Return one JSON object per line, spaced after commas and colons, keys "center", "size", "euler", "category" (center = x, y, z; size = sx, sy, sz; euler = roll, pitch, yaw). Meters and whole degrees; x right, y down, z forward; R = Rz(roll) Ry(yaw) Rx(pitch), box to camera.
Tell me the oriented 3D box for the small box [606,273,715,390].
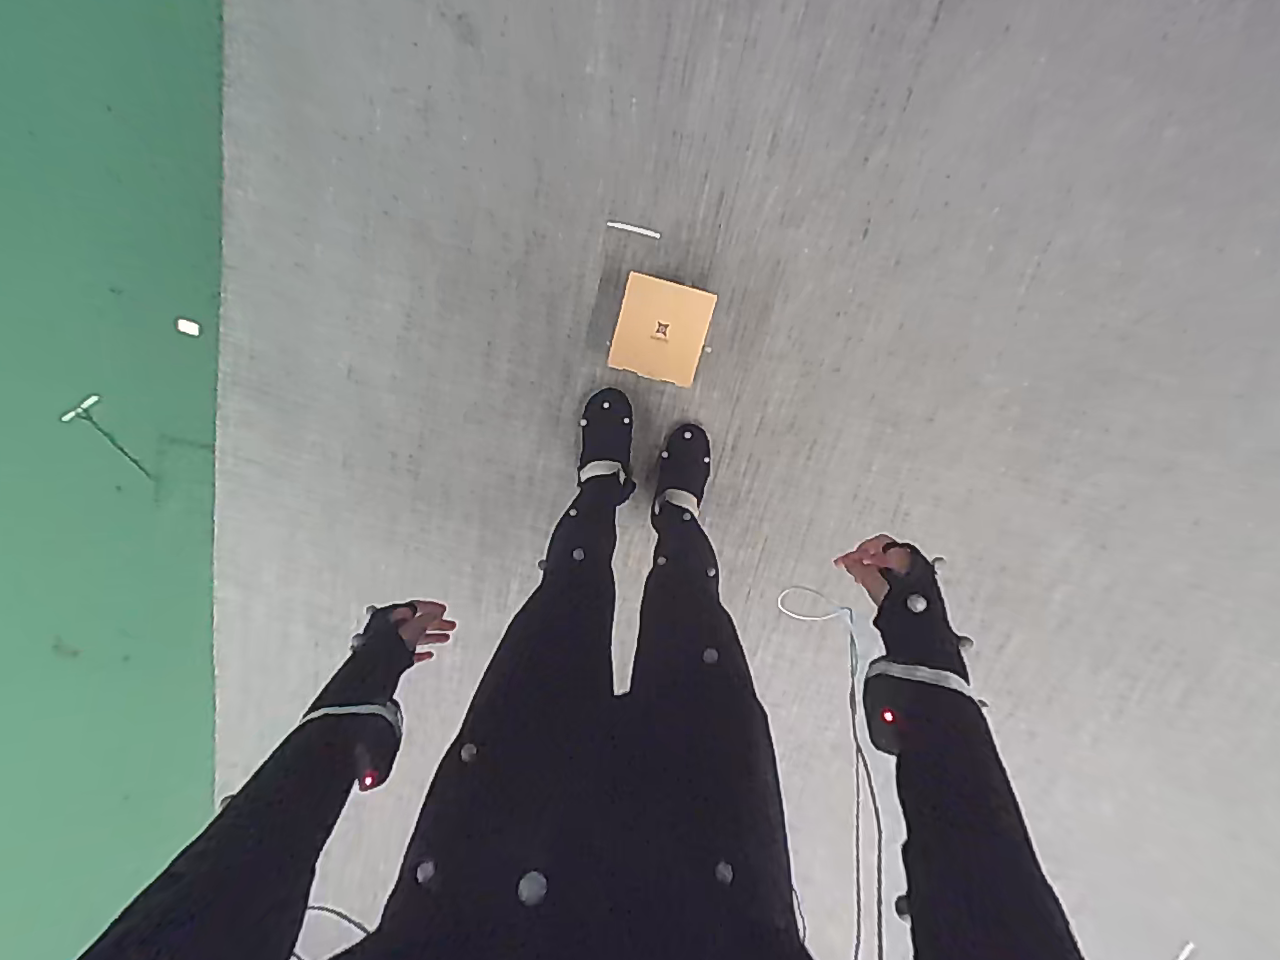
{"center": [0.040, -0.292, 1.066], "size": [0.168, 0.176, 0.179], "euler": [16, 107, 1], "category": "small box"}
